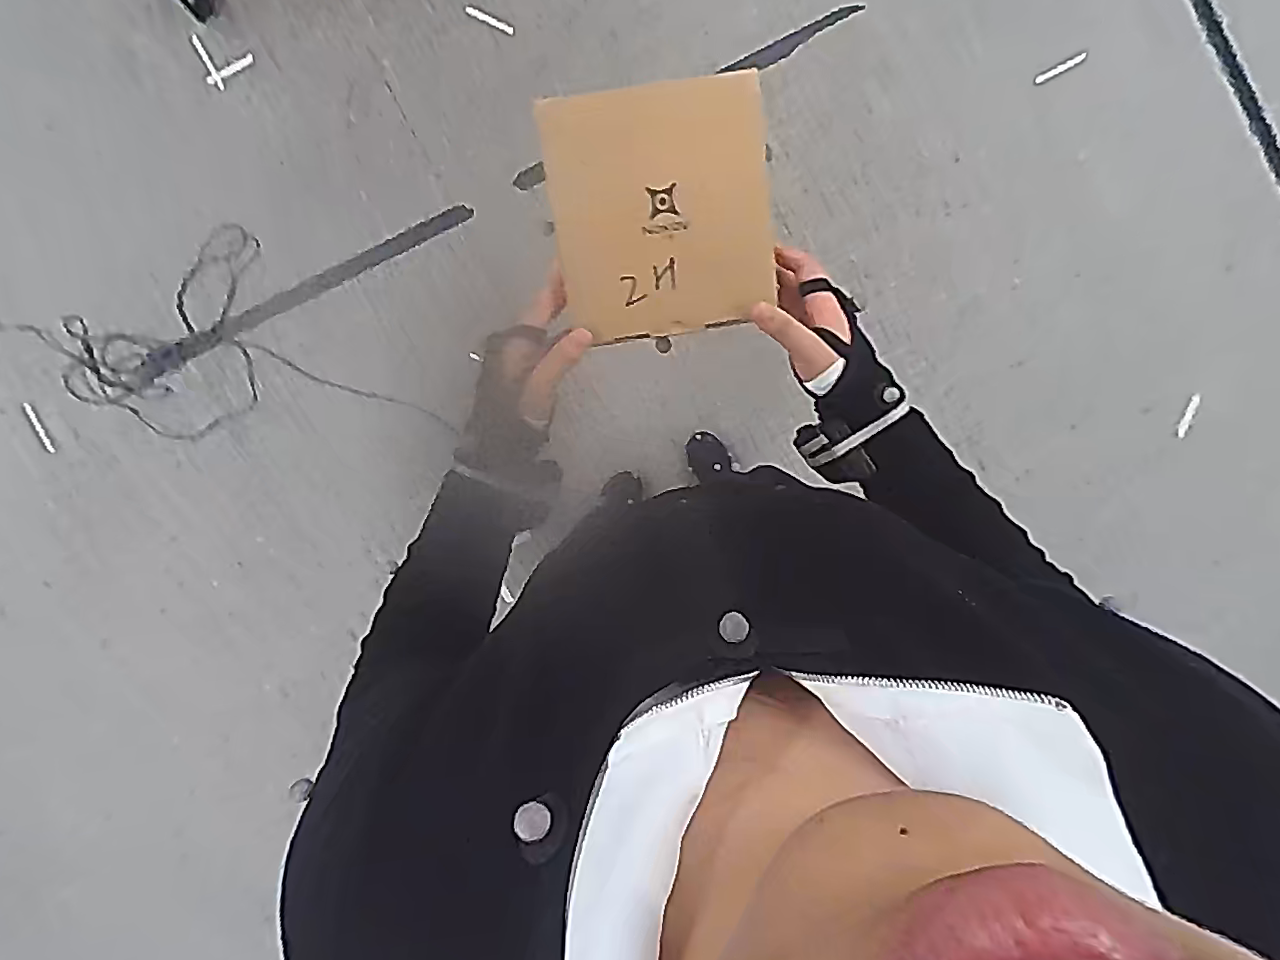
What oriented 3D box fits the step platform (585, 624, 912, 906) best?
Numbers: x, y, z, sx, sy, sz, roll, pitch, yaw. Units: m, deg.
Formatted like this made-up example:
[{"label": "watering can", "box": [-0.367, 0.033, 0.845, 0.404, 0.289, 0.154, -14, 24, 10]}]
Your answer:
[{"label": "step platform", "box": [0.223, 0.608, 1.205, 0.684, 0.204, 0.286, -30, 93, 1]}]
